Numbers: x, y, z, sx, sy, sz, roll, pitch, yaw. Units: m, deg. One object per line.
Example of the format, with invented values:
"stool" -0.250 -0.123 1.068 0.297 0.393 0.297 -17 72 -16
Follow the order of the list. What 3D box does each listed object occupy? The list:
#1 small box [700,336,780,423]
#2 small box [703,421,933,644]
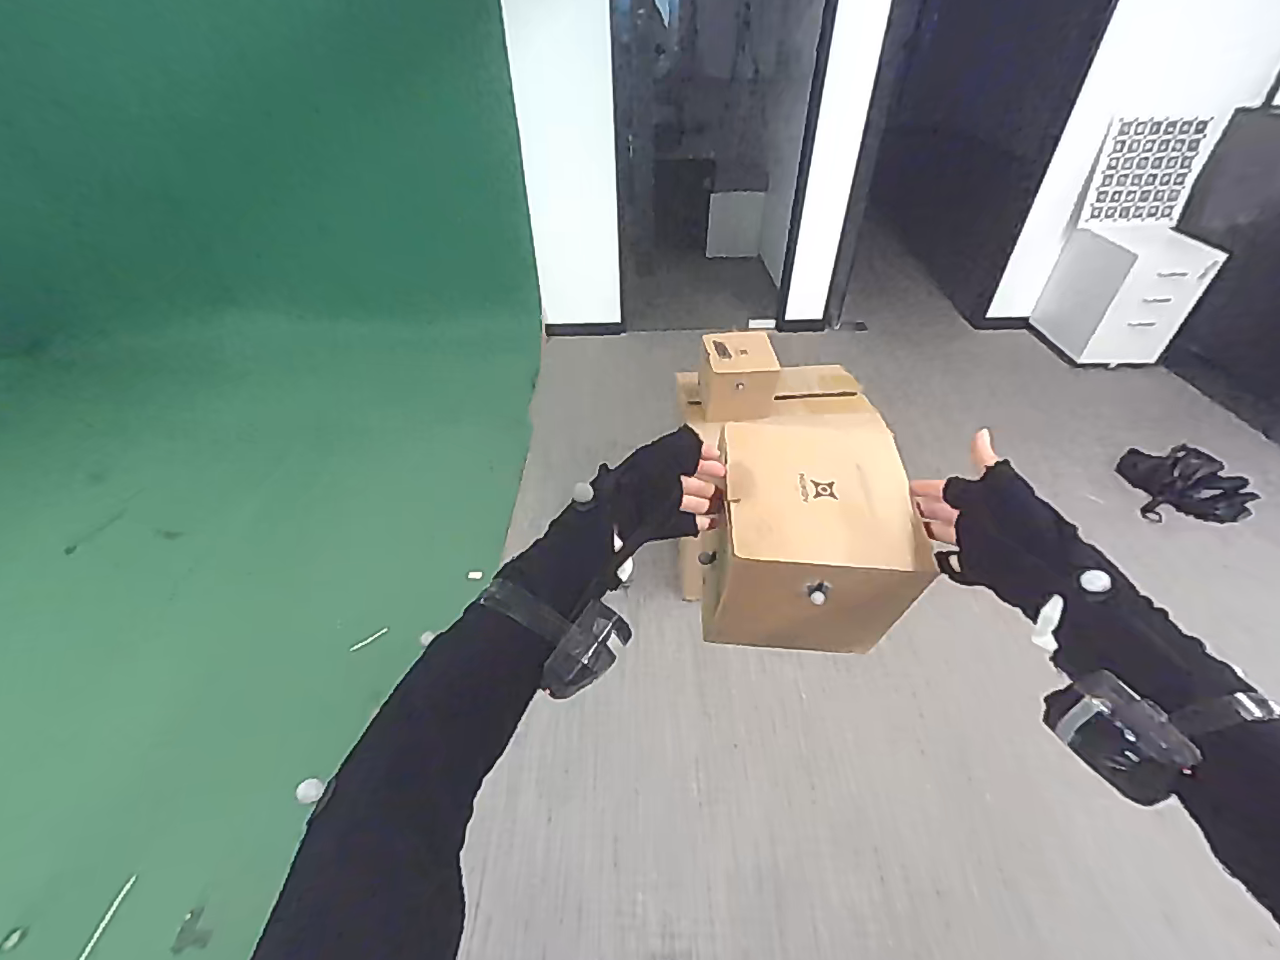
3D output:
"small box" 0.261 -0.269 1.462 0.179 0.176 0.168 -3 50 -4
"small box" 0.162 0.060 0.568 0.179 0.176 0.168 5 50 -2
